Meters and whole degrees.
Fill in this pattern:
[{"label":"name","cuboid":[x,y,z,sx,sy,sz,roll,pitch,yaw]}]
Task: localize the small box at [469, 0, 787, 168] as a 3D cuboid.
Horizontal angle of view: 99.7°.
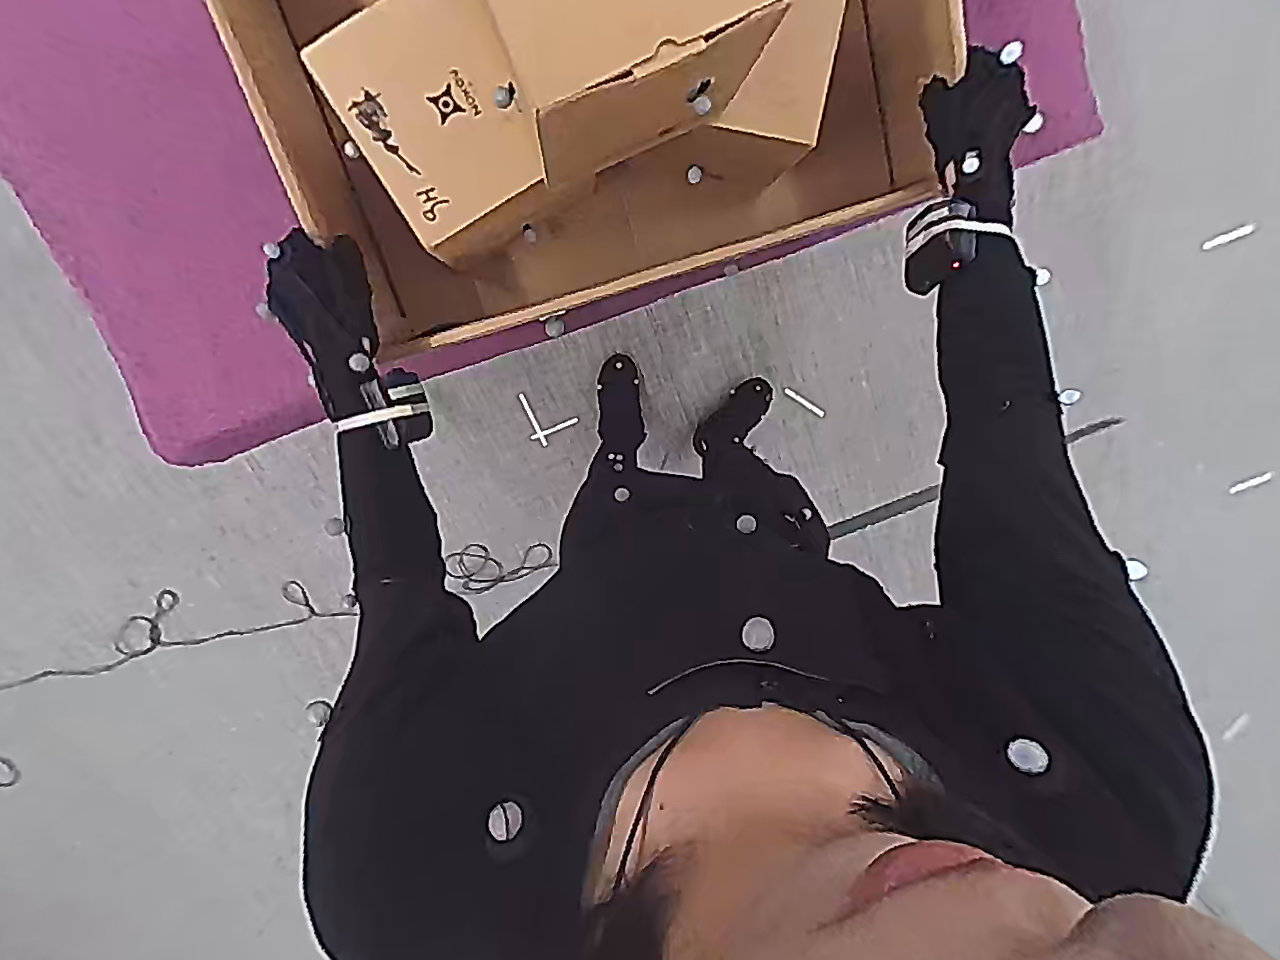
[{"label":"small box","cuboid":[-0.026,-0.332,0.349,0.168,0.176,0.179,-25,105,0]}]
